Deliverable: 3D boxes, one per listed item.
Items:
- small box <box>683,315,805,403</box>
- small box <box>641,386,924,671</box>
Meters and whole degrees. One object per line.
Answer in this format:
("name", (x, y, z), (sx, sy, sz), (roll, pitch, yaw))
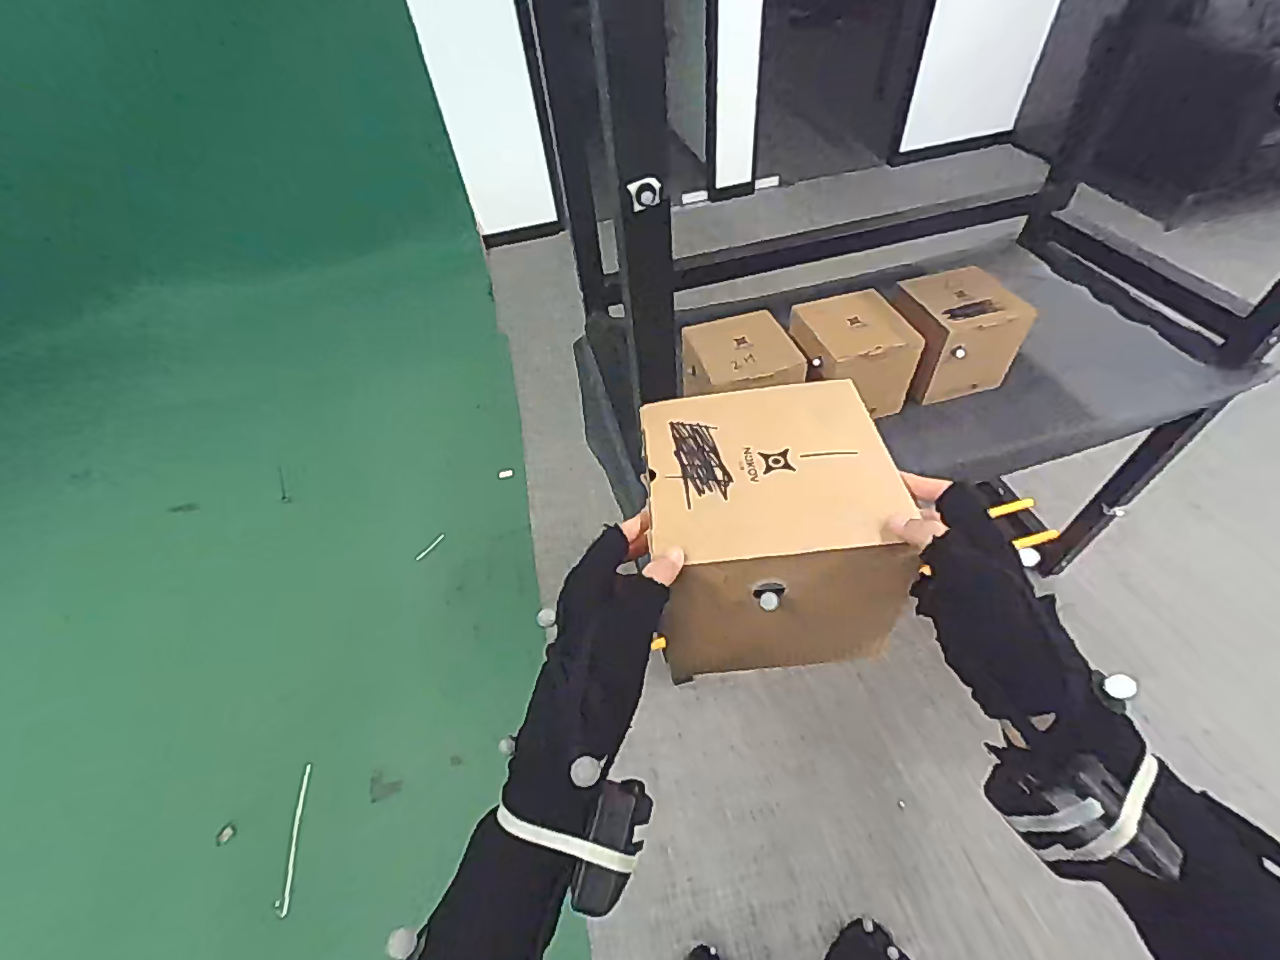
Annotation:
("small box", (0.181, -0.174, 0.999), (0.168, 0.176, 0.179), (-14, 49, -6))
("small box", (0.099, 0.046, 0.451), (0.179, 0.176, 0.168), (-6, 47, 3))
